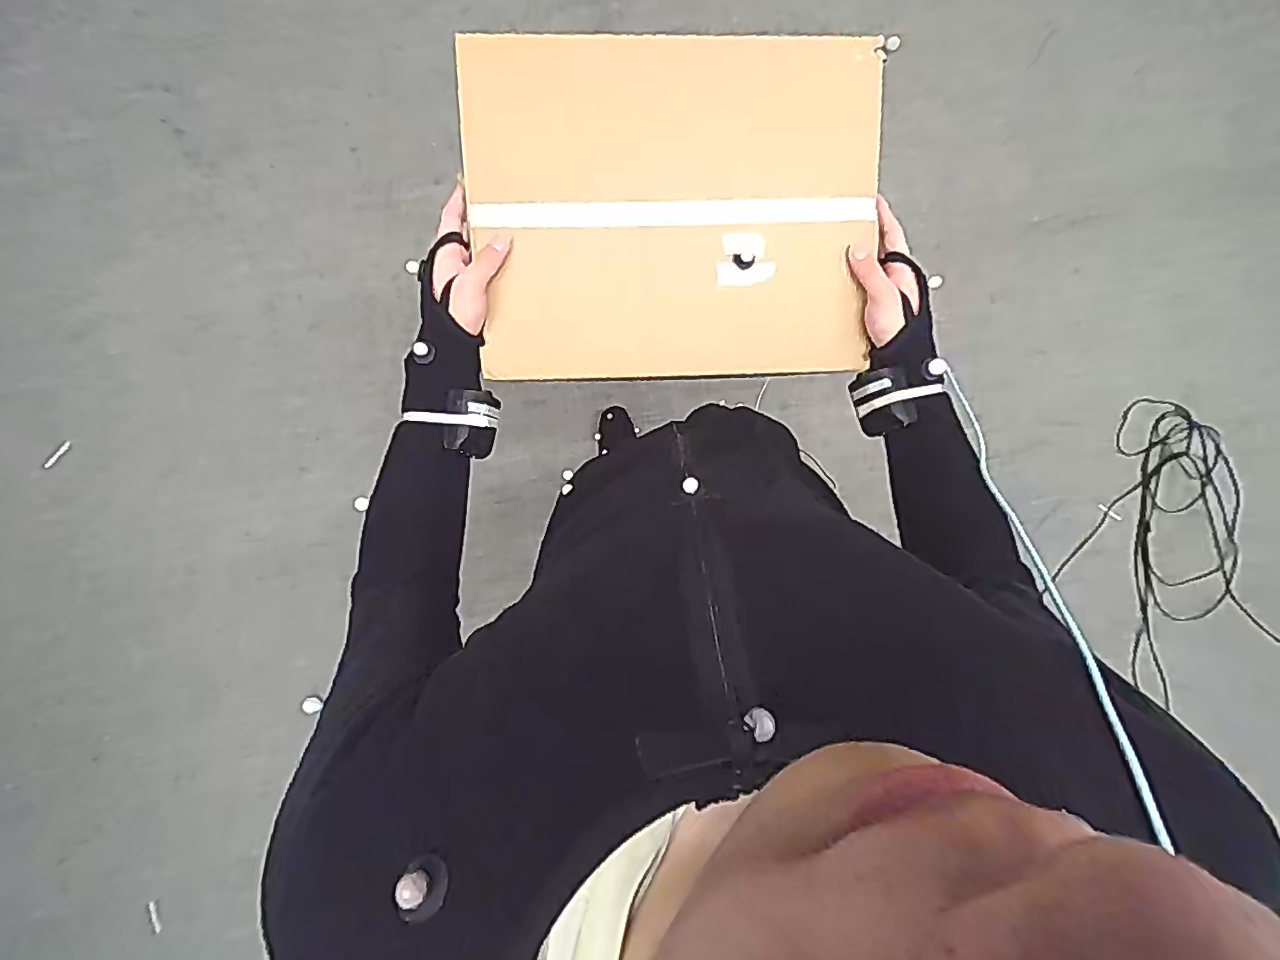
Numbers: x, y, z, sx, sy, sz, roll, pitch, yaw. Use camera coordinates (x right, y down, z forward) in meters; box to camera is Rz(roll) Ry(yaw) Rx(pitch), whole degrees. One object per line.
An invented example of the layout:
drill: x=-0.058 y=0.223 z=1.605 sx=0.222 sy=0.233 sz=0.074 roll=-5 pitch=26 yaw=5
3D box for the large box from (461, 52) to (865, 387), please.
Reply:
large box: x=0.022 y=-0.286 z=0.695 sx=0.408 sy=0.320 sz=0.320 roll=-3 pitch=100 yaw=-3
